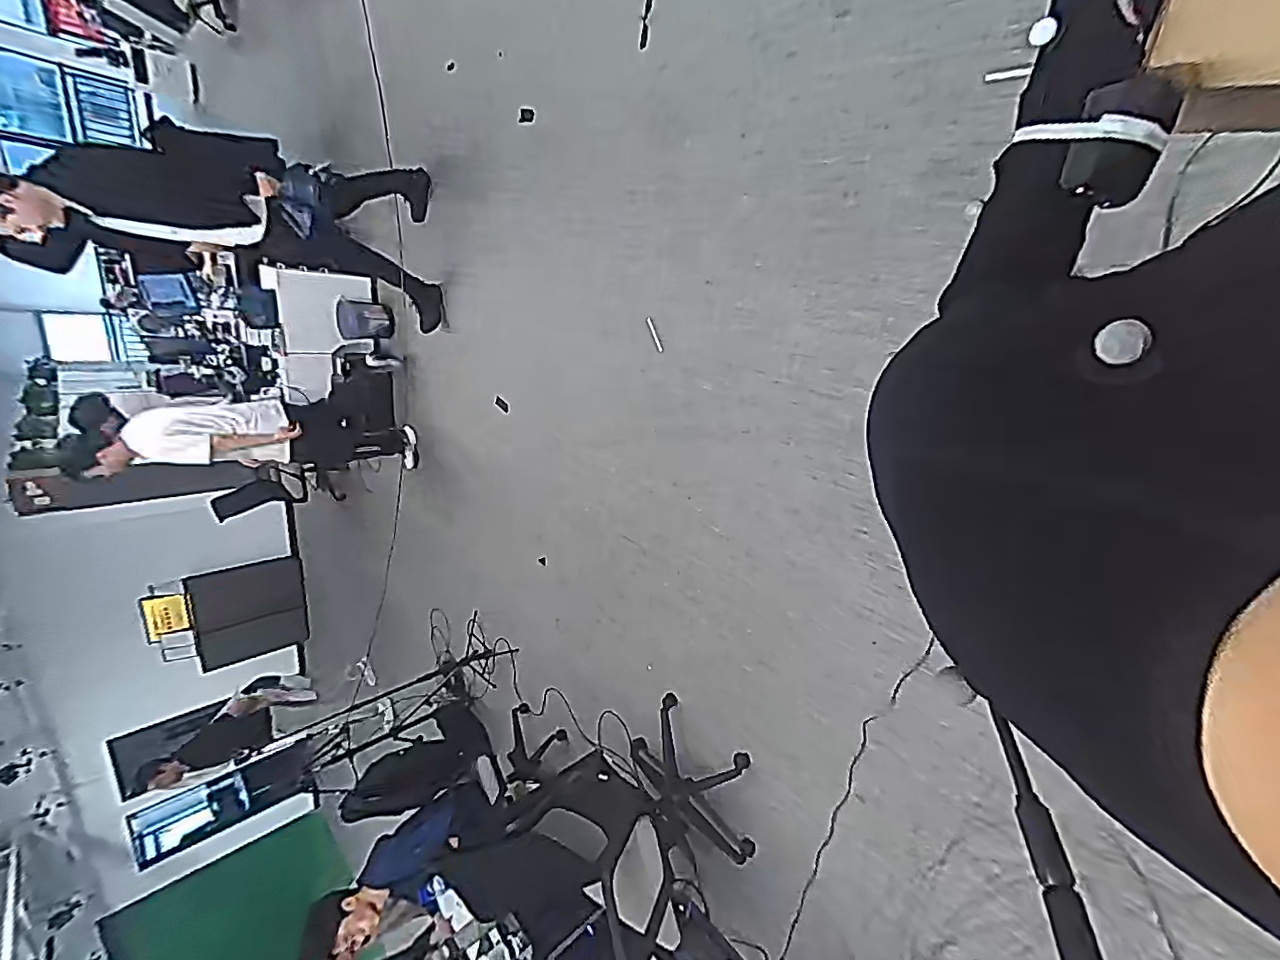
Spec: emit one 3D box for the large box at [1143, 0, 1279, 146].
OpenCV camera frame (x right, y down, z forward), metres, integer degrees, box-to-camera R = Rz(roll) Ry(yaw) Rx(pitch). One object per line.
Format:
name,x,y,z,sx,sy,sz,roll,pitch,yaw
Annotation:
large box,0.590,-0.380,0.284,0.408,0.320,0.320,24,126,37
